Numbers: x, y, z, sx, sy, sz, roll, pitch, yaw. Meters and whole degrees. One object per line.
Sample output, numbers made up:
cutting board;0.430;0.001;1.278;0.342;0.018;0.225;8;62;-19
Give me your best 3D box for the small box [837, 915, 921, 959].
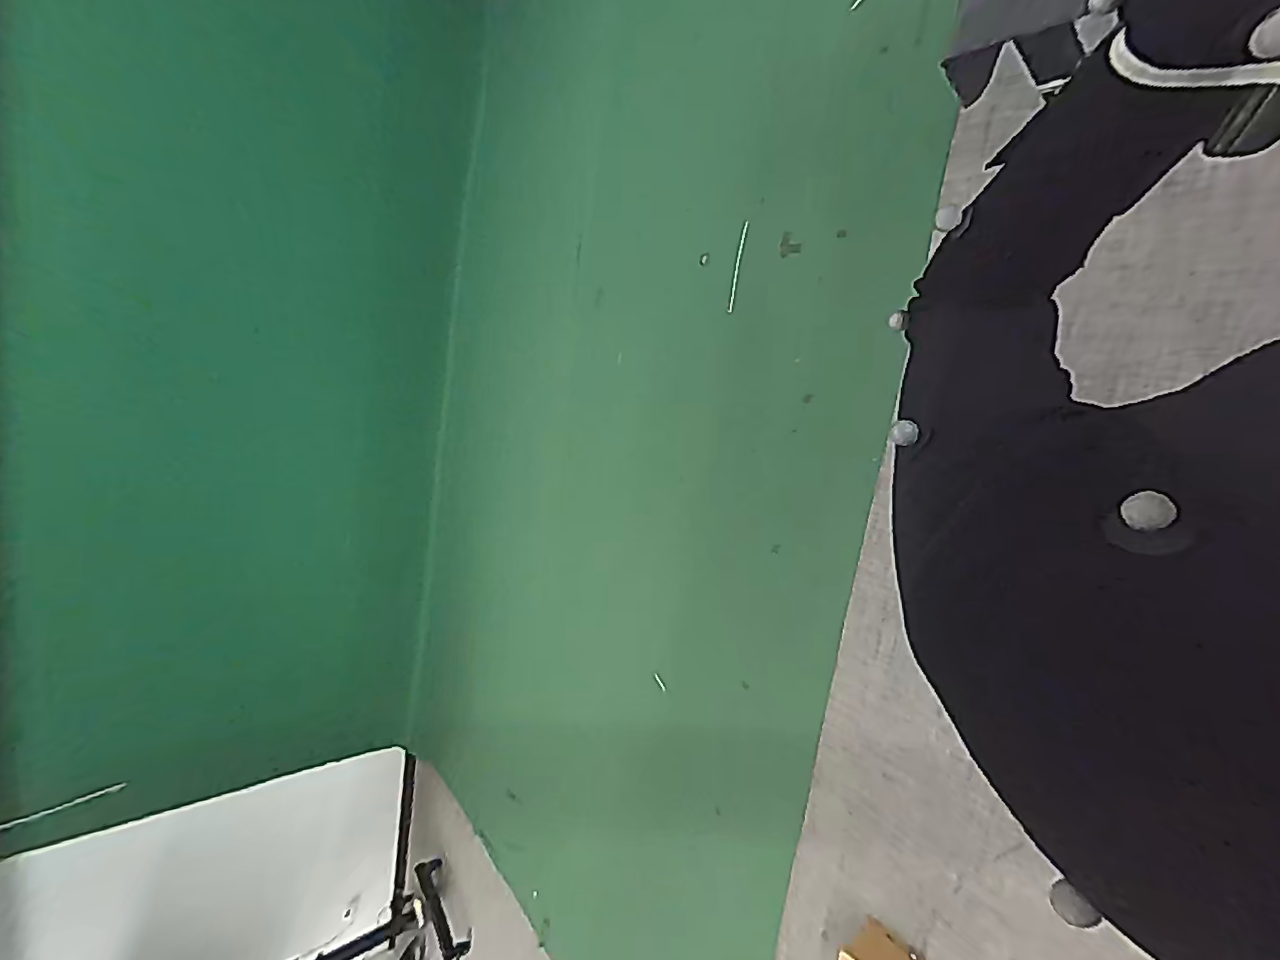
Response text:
small box;0.631;1.316;1.429;0.168;0.176;0.179;16;101;48
